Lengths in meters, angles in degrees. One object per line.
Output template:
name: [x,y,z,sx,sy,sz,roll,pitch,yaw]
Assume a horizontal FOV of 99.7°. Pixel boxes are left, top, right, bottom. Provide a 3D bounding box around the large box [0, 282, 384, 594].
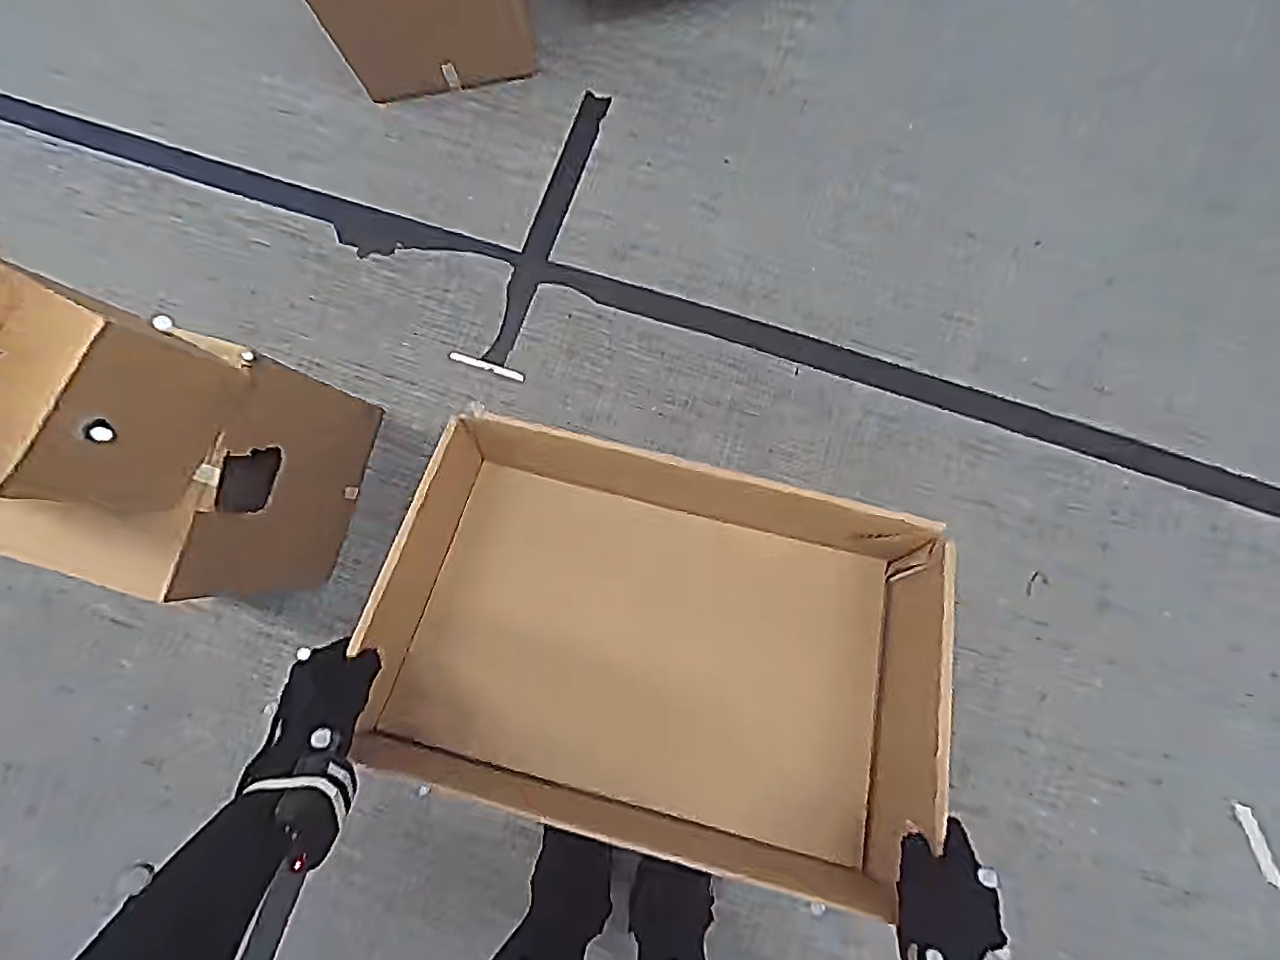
large box: [-0.676,-0.044,0.794,0.408,0.320,0.320,14,86,3]
